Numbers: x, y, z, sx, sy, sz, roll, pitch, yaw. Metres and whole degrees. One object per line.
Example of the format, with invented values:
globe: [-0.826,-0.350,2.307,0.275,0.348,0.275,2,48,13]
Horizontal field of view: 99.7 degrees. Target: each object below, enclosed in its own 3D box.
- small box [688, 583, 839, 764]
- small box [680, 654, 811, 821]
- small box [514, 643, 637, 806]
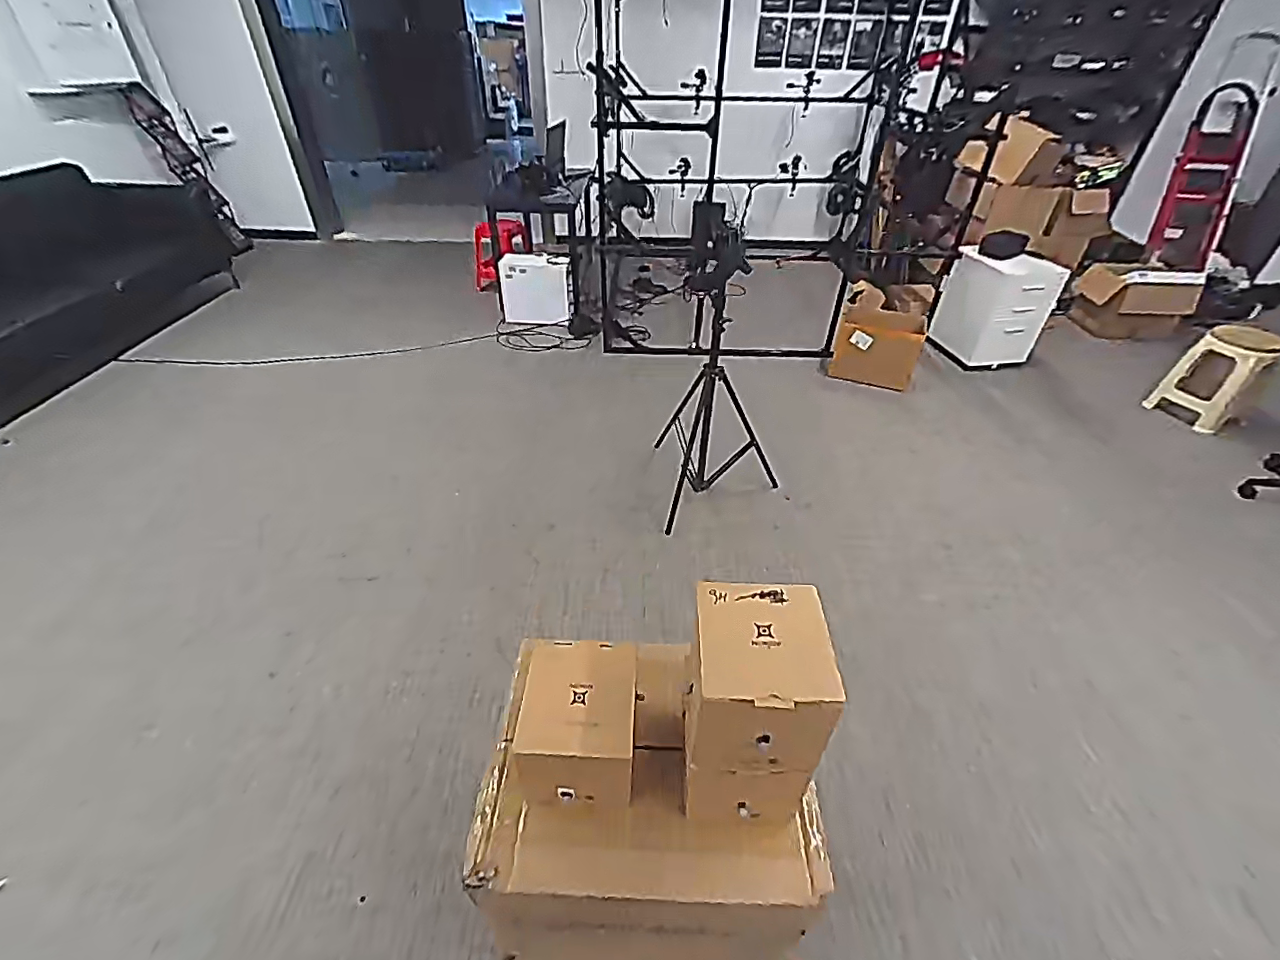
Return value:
small box: [0.153,0.262,0.732,0.168,0.176,0.179,1,39,2]
small box: [0.148,0.392,0.831,0.168,0.176,0.179,0,39,1]
small box: [-0.091,0.379,0.844,0.168,0.176,0.179,1,40,0]
